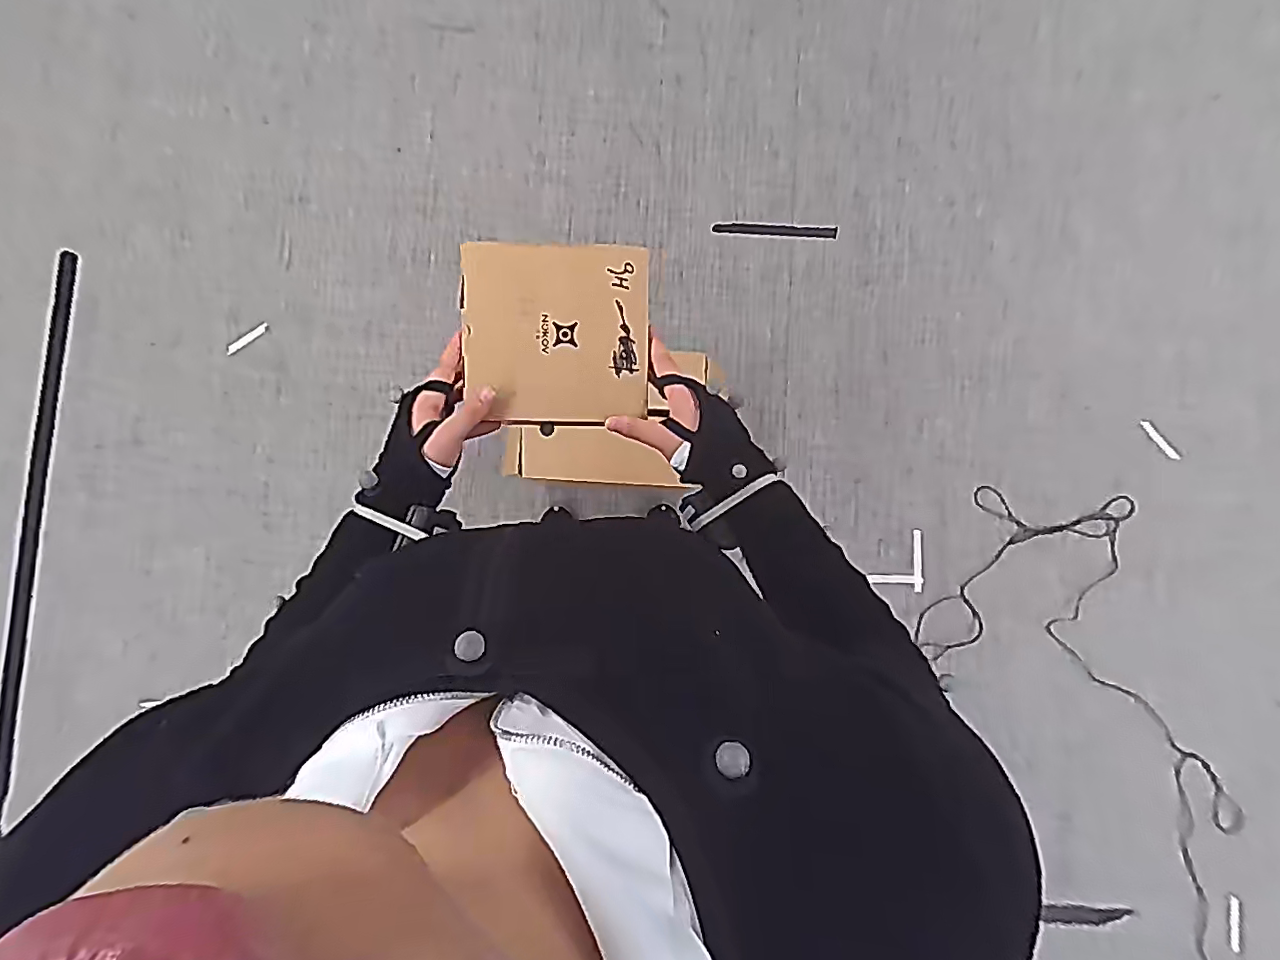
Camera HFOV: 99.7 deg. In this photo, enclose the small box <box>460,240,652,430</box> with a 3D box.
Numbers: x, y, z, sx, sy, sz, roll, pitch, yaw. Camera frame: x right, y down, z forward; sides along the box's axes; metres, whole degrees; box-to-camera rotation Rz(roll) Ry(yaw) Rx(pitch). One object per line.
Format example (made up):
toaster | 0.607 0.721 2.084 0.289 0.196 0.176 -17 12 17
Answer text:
small box | -0.080 -0.139 0.577 0.179 0.176 0.168 1 94 -3
